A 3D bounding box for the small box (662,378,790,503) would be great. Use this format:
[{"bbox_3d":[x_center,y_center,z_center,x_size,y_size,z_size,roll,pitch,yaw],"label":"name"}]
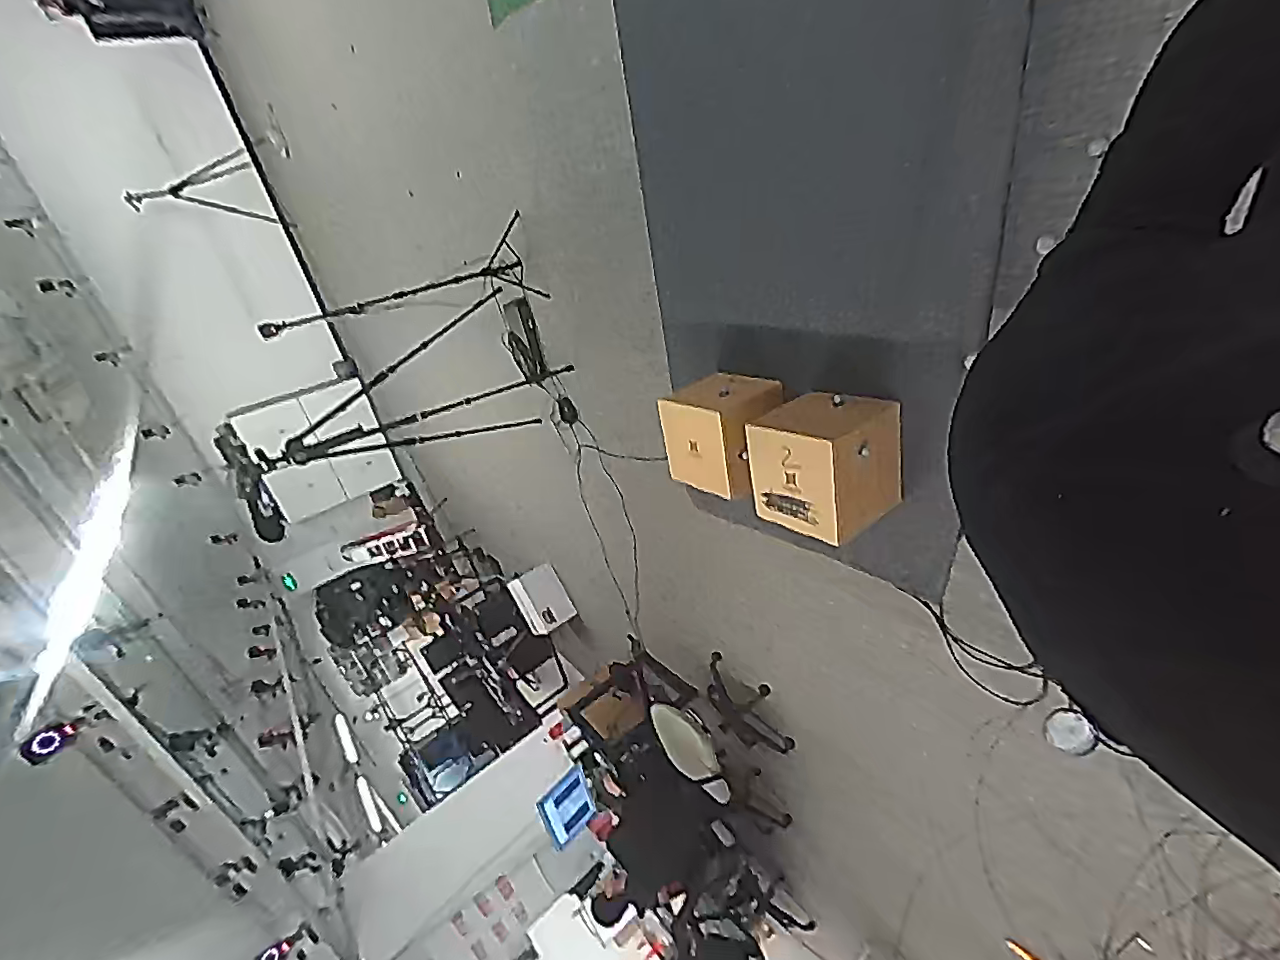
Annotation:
[{"bbox_3d":[0.170,-0.086,1.042,0.168,0.176,0.179,21,132,49],"label":"small box"}]
